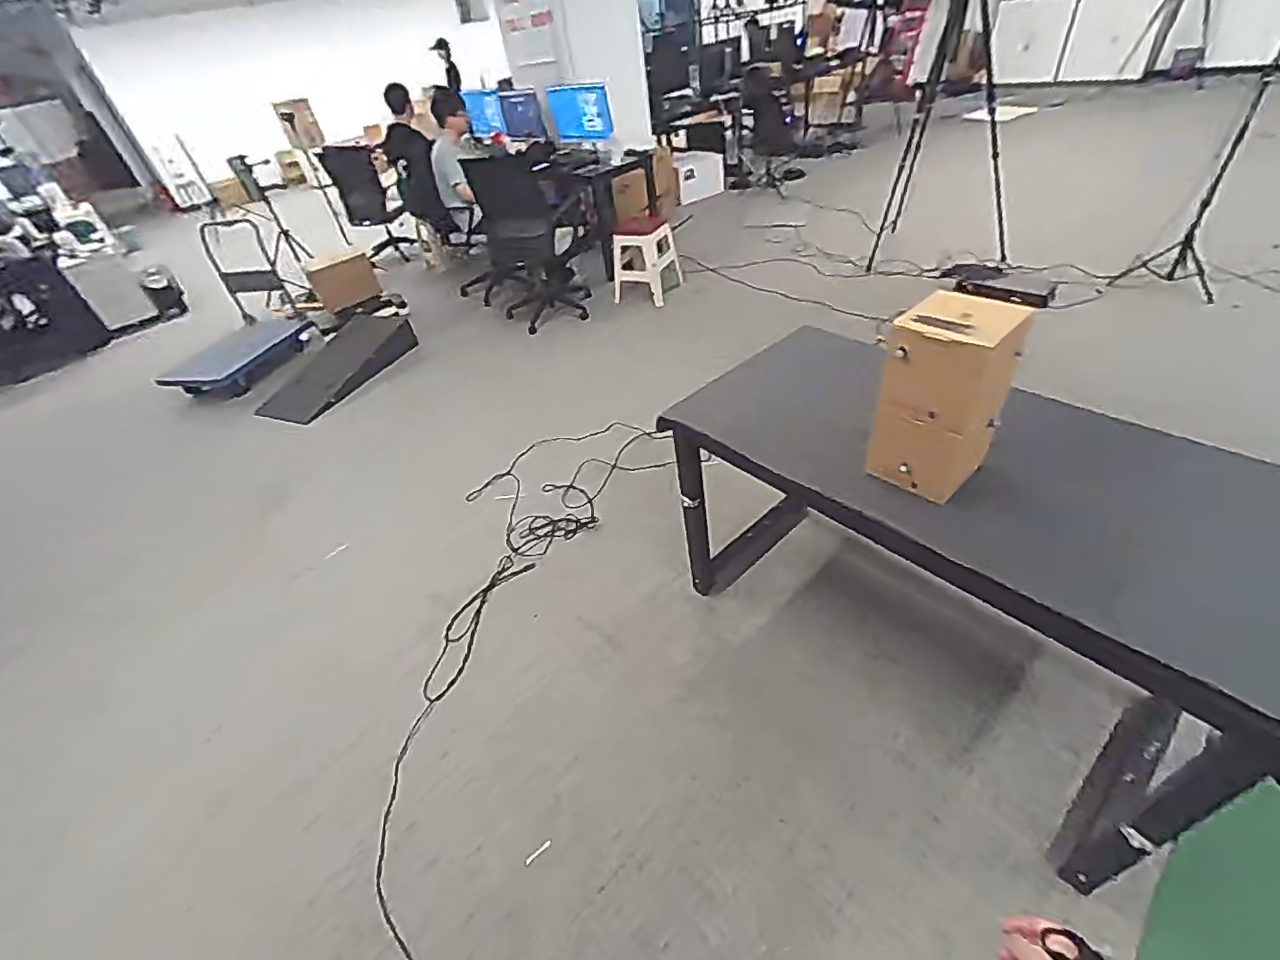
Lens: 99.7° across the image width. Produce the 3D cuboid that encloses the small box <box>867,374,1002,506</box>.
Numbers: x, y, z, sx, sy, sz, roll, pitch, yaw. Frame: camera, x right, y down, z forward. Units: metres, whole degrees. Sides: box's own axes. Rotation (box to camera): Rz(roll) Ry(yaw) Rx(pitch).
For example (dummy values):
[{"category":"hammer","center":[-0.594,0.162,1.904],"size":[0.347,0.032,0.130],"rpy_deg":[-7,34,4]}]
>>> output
[{"category":"small box","center":[0.576,-0.081,1.081],"size":[0.179,0.176,0.168],"rpy_deg":[-34,46,-27]}]
